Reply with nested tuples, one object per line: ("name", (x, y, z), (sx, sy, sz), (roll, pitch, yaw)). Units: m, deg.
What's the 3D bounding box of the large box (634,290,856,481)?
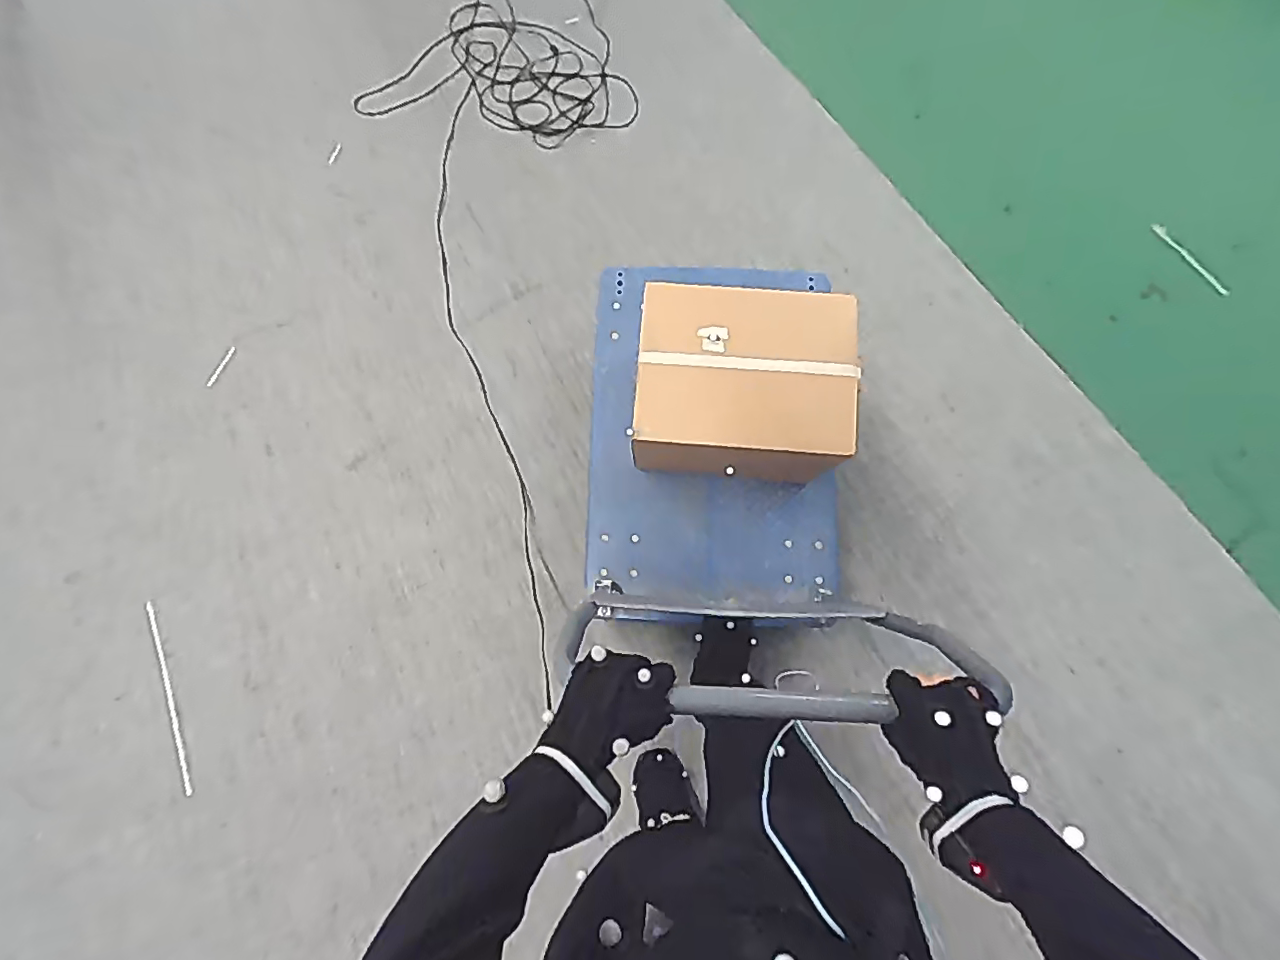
("large box", (0.206, -0.179, 1.148), (0.408, 0.320, 0.320), (5, 81, 3))
